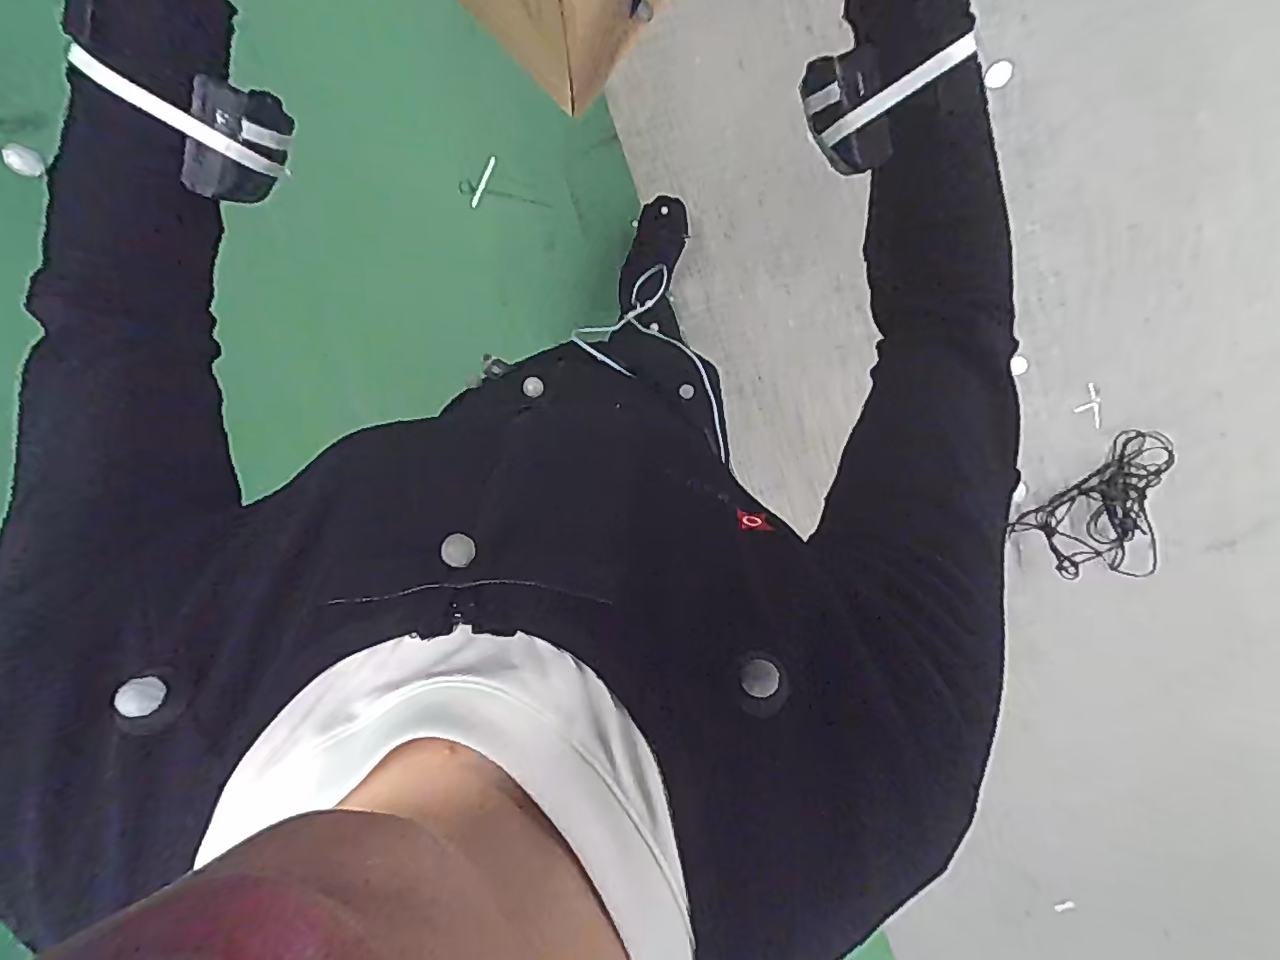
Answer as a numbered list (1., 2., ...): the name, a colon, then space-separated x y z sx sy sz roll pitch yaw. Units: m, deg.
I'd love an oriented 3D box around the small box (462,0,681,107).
1. small box: -0.052 -0.382 0.328 0.179 0.176 0.168 41 98 -14
